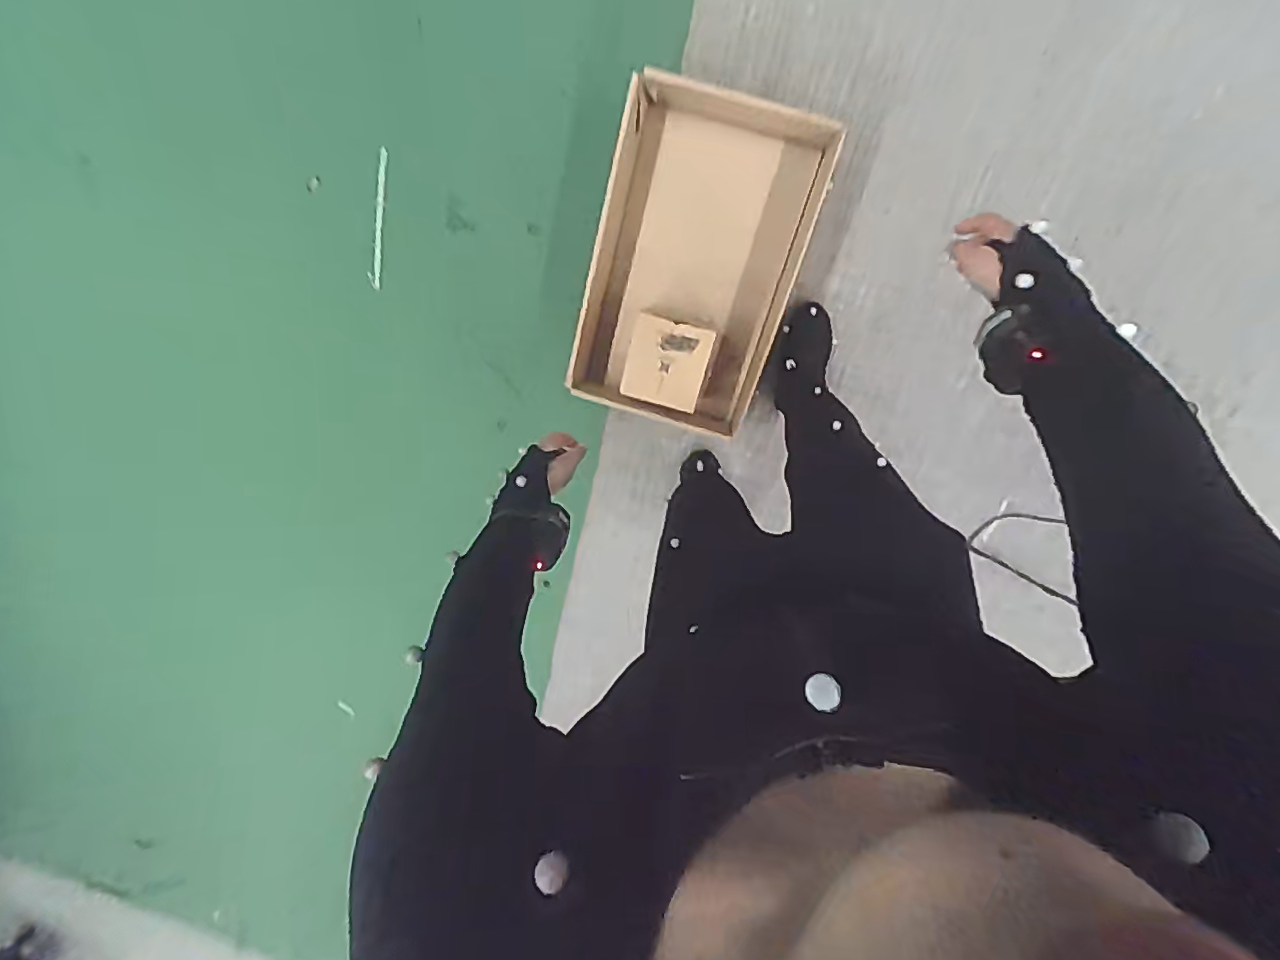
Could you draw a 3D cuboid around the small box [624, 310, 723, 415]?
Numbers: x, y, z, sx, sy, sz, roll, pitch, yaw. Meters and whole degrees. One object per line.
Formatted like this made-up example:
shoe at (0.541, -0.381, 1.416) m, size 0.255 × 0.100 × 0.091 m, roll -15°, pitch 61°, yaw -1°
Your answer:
small box at (0.075, -0.262, 1.175) m, size 0.168 × 0.176 × 0.179 m, roll 16°, pitch 112°, yaw 3°
